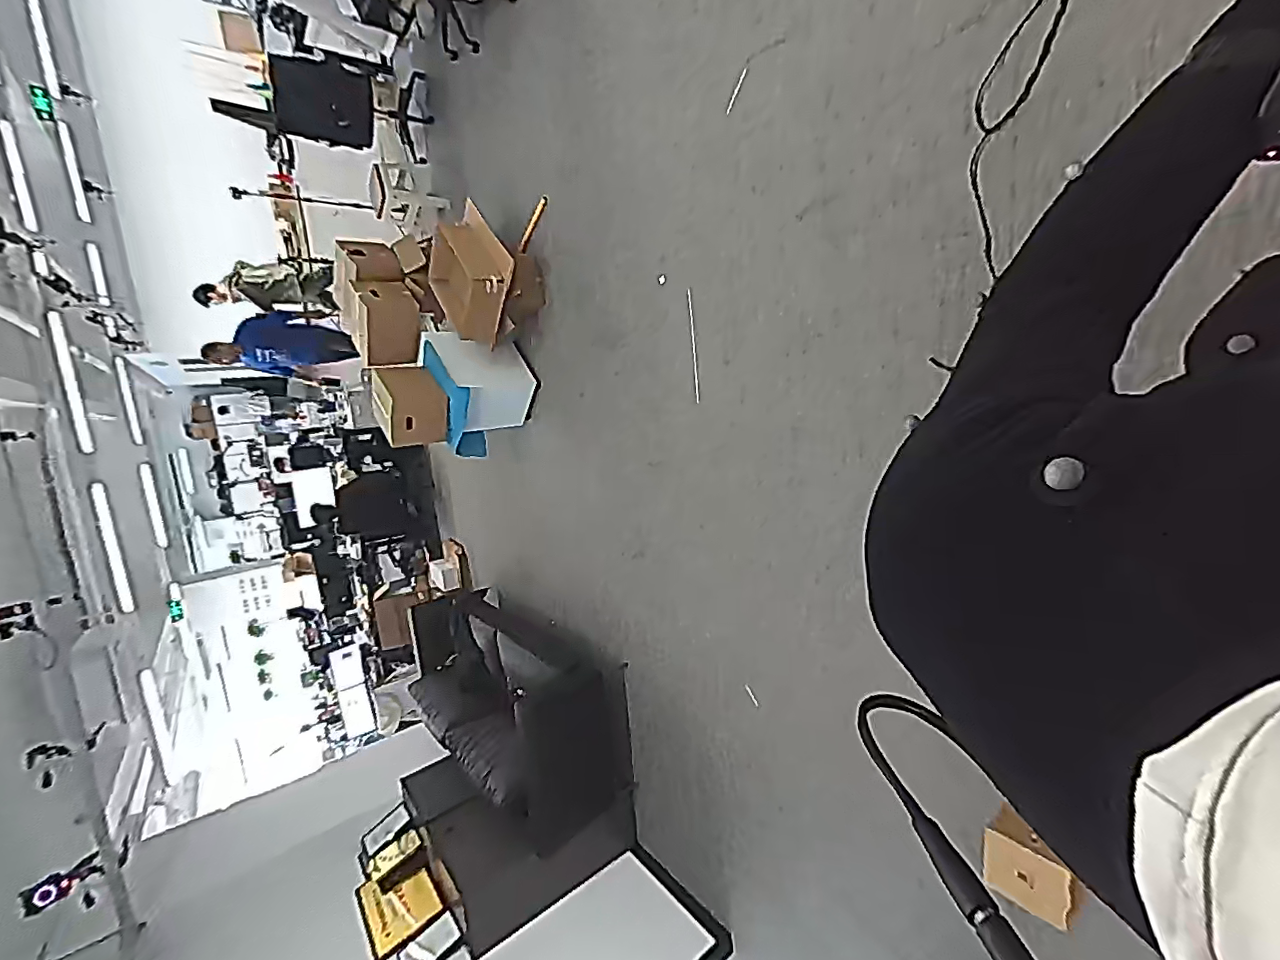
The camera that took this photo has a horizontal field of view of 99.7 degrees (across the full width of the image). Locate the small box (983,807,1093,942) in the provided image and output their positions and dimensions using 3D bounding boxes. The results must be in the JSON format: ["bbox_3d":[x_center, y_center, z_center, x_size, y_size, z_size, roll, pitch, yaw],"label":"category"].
[{"bbox_3d":[0.970,0.943,1.316,0.179,0.176,0.168,9,106,53],"label":"small box"}]
